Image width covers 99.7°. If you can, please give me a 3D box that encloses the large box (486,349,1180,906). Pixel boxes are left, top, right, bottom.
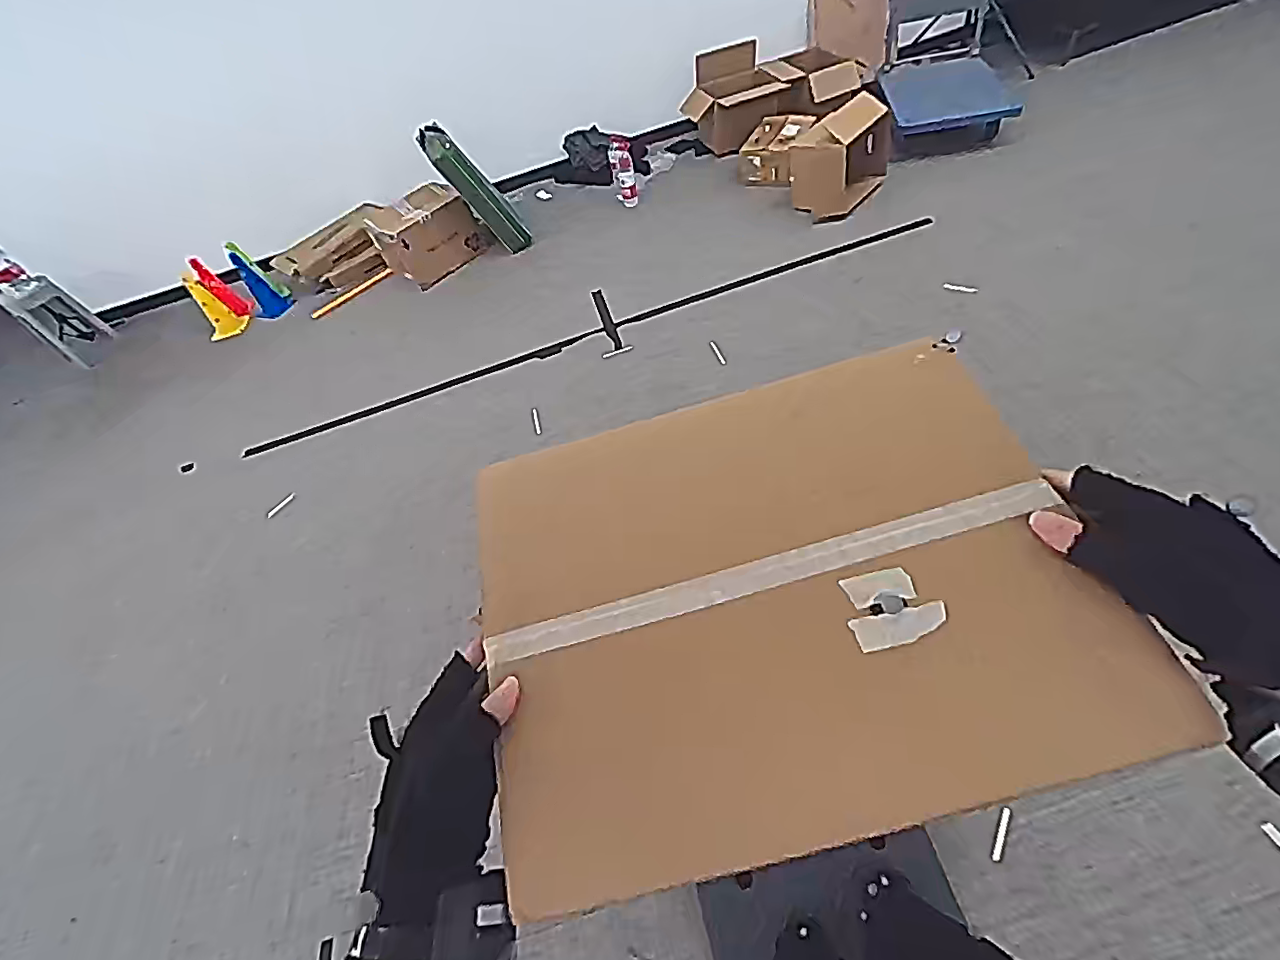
[{"bbox_3d":[0.112,0.141,0.517,0.408,0.320,0.320,-16,60,1],"label":"large box"}]
